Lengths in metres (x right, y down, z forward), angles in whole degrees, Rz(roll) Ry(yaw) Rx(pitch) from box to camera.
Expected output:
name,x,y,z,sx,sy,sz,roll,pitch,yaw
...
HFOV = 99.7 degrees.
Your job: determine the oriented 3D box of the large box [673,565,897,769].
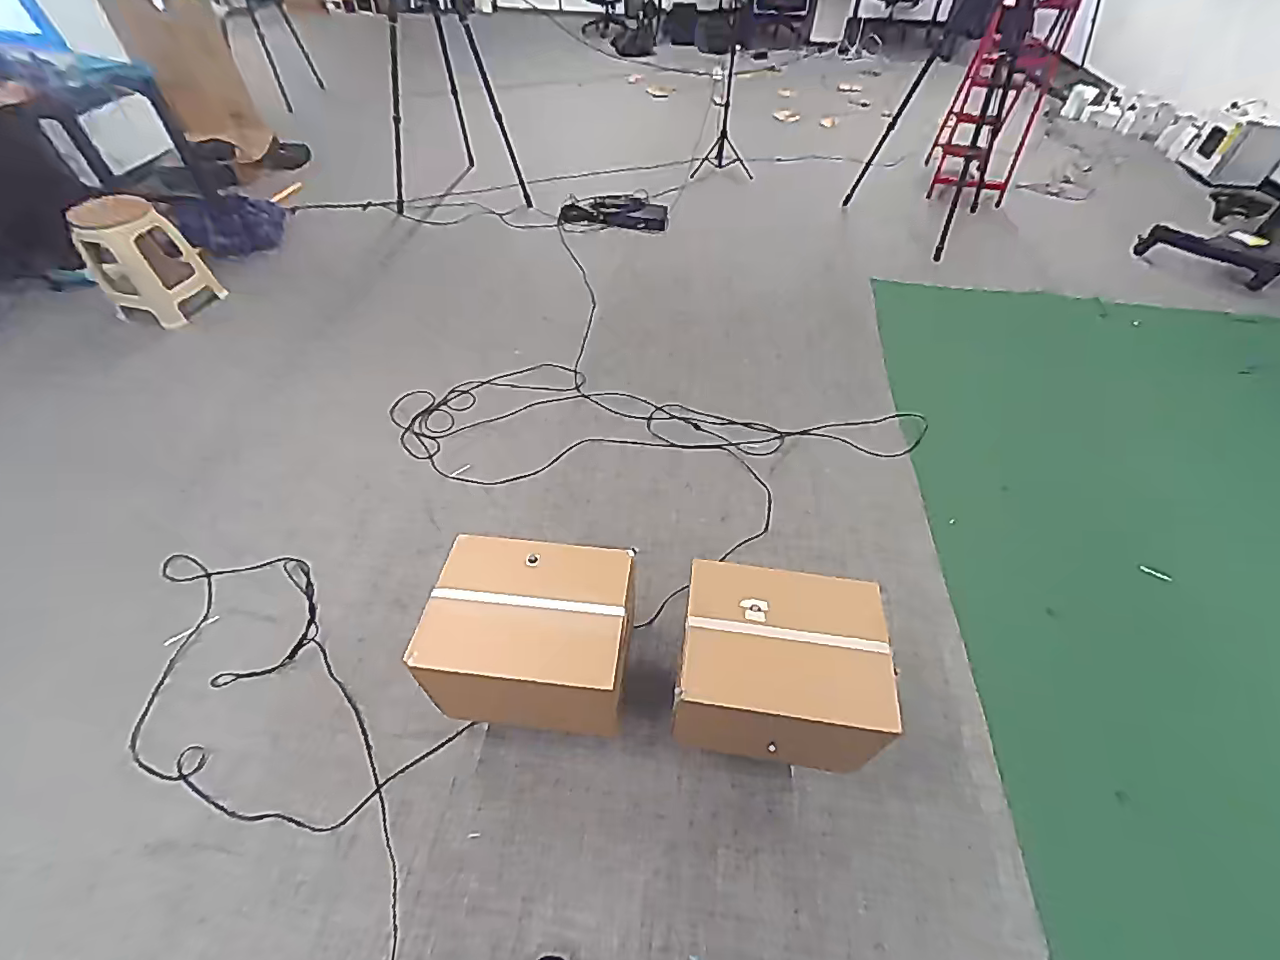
name,x,y,z,sx,sy,sz,roll,pitch,yaw
large box,0.296,0.421,1.209,0.408,0.320,0.320,7,49,6
